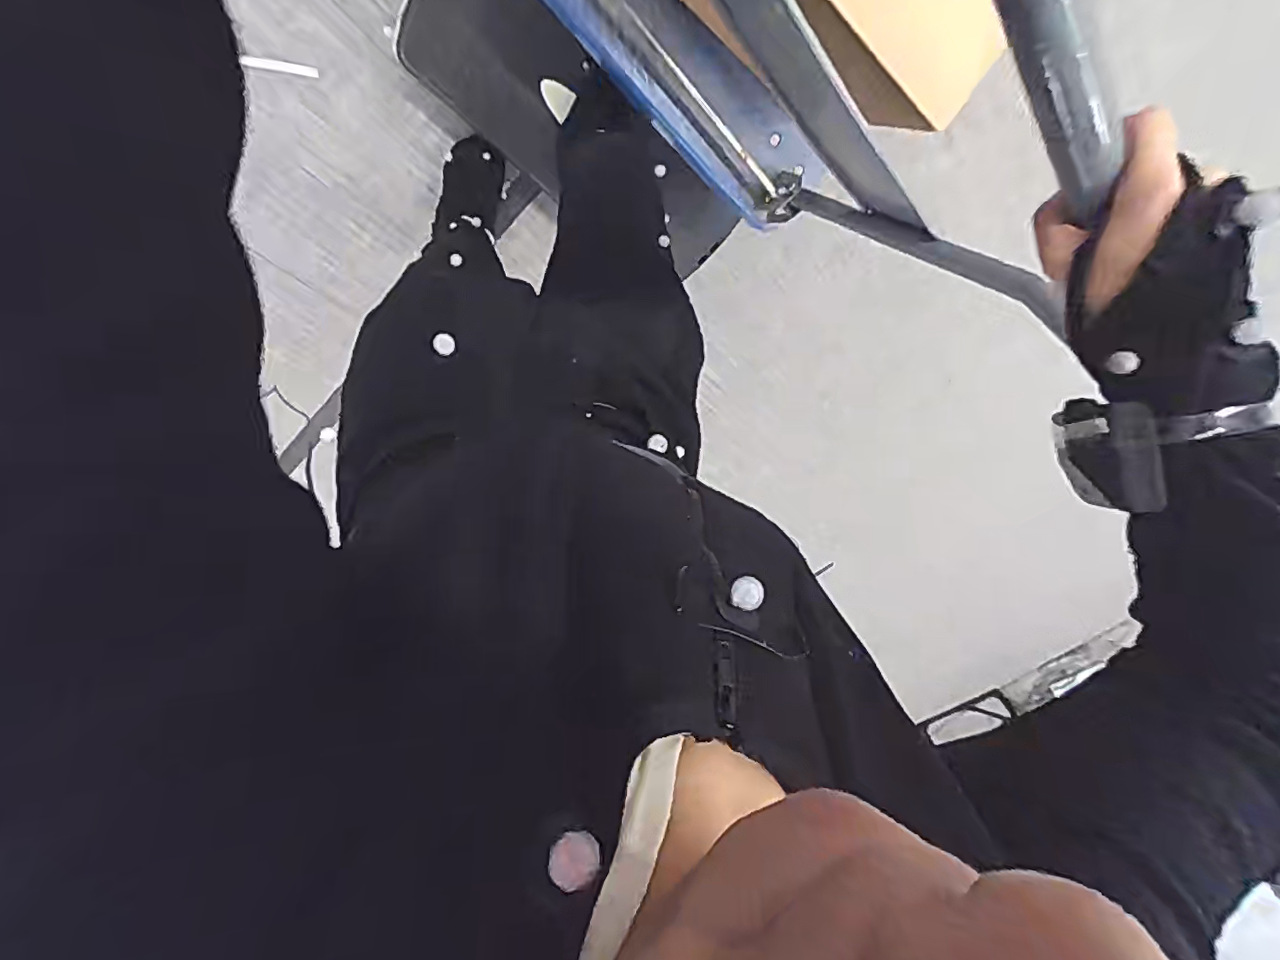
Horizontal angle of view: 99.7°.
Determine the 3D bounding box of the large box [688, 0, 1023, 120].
[{"bbox_3d":[0.218,-0.676,0.587,0.408,0.320,0.320,19,117,-33],"label":"large box"}]
